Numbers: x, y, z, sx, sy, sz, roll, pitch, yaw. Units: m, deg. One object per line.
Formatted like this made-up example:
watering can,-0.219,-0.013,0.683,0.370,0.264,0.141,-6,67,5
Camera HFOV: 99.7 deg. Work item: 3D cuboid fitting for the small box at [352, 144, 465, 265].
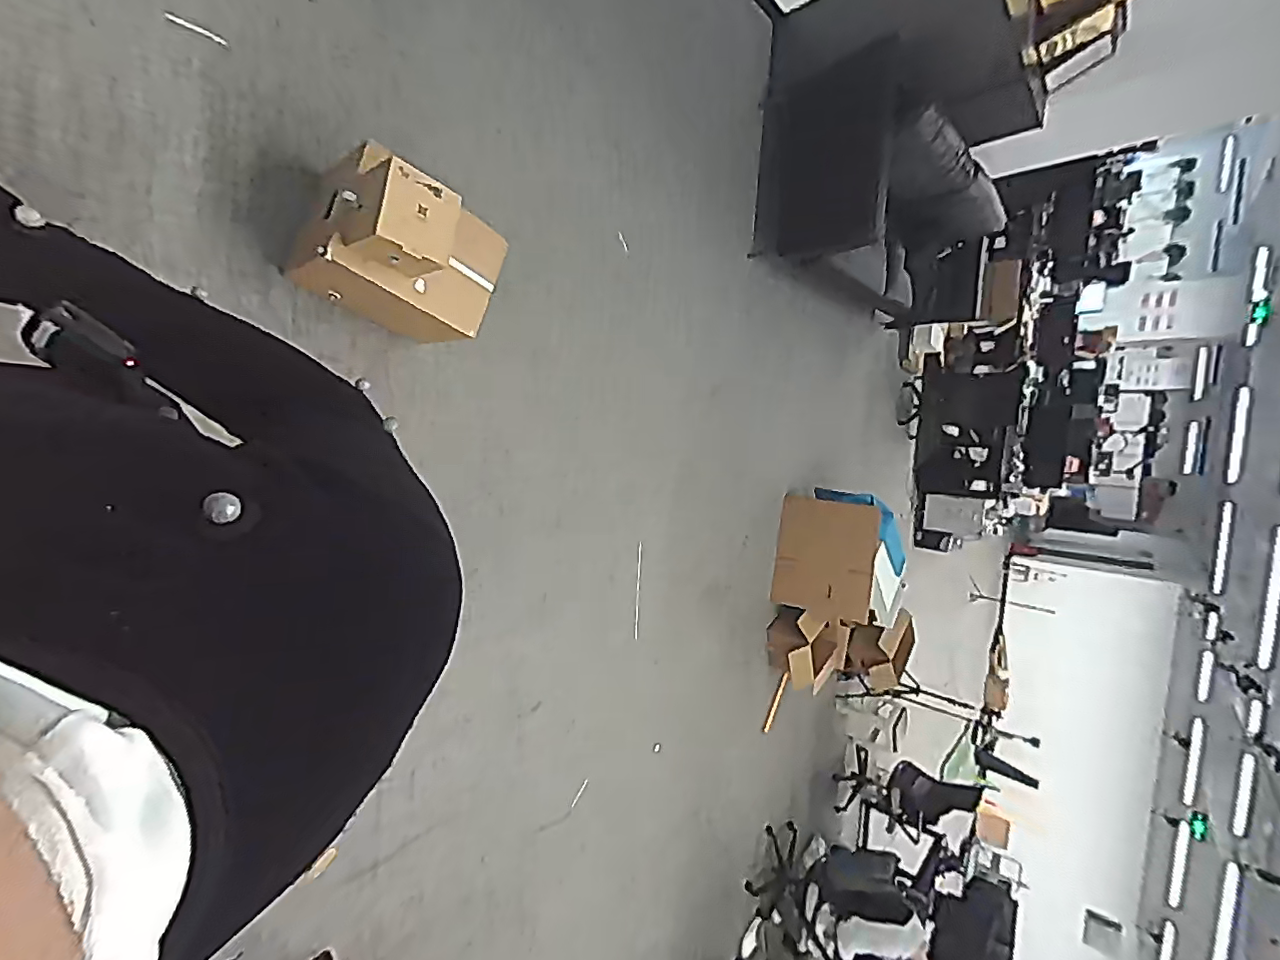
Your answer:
small box,-0.530,-0.612,1.228,0.168,0.176,0.179,14,87,-49

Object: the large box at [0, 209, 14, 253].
large box,-1.290,-0.446,0.785,0.408,0.320,0.320,-43,124,-34
